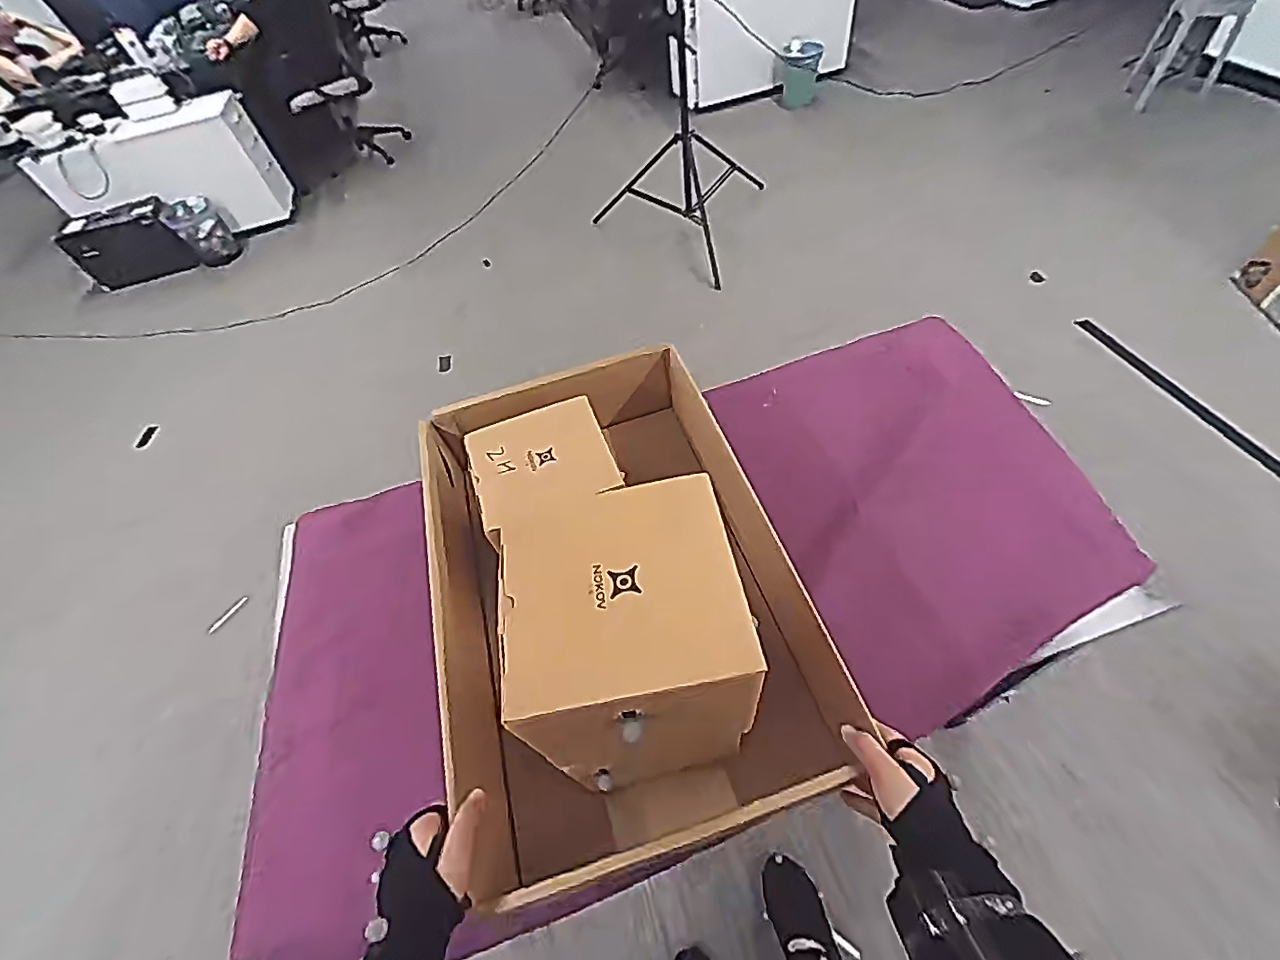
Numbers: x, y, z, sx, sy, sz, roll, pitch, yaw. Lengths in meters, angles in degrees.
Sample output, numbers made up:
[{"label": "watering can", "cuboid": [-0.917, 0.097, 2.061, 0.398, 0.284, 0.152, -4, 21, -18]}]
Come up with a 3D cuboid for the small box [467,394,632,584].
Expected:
[{"label": "small box", "cuboid": [-0.116, 0.016, 0.746, 0.179, 0.176, 0.168, -19, 54, -8]}]
